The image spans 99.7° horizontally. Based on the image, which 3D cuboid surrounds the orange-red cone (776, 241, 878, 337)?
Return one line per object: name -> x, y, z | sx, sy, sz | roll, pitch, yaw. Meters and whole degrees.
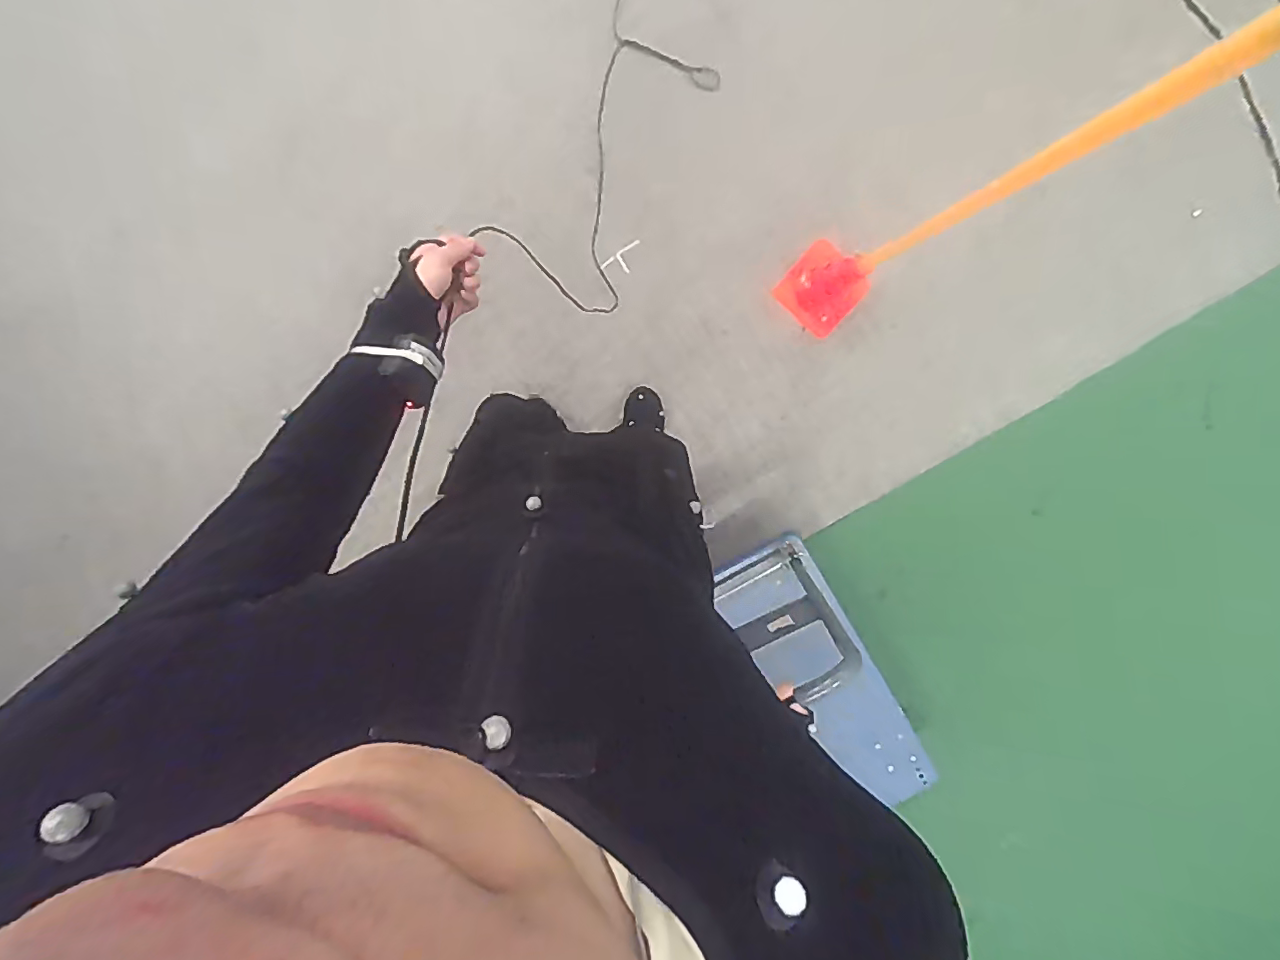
orange-red cone -> 0.492, -0.487, 1.309 | 0.198, 0.360, 0.199 | 42, 100, -6
